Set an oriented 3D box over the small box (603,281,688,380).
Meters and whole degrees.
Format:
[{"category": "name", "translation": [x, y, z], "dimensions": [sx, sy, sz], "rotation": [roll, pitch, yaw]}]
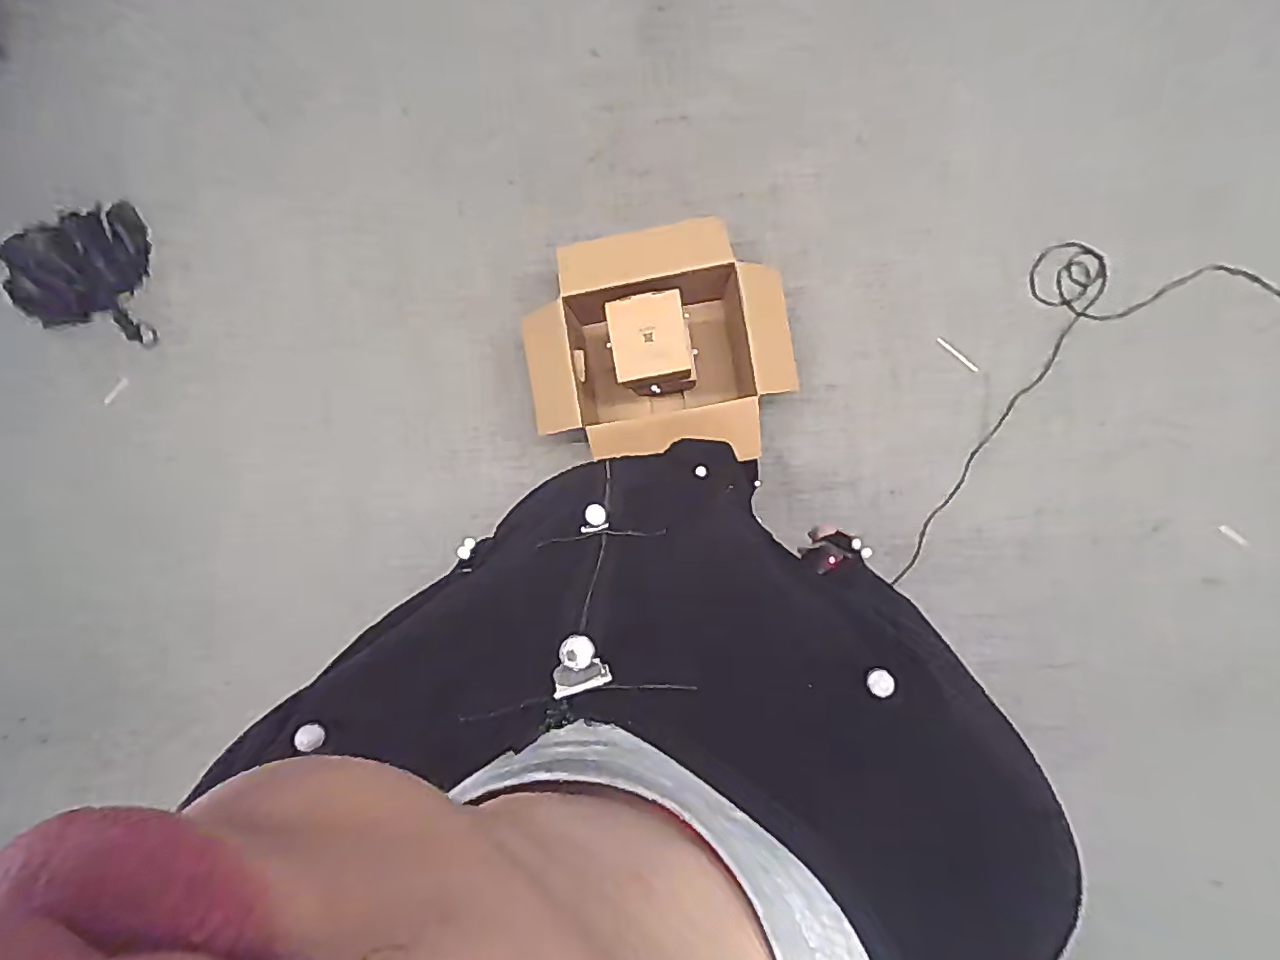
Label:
[{"category": "small box", "translation": [0.017, -0.337, 1.247], "dimensions": [0.168, 0.176, 0.179], "rotation": [-9, 95, 6]}]
